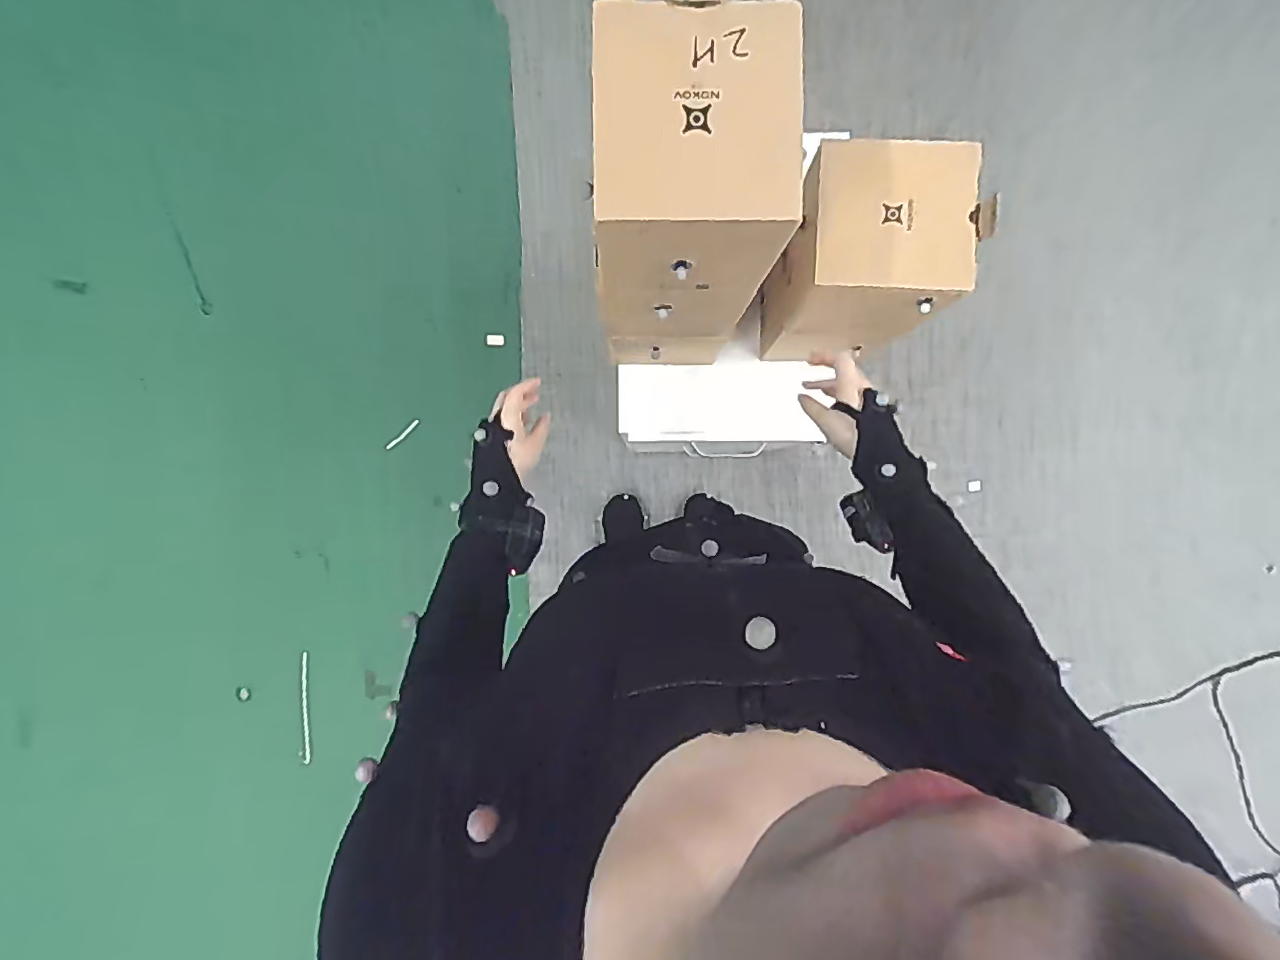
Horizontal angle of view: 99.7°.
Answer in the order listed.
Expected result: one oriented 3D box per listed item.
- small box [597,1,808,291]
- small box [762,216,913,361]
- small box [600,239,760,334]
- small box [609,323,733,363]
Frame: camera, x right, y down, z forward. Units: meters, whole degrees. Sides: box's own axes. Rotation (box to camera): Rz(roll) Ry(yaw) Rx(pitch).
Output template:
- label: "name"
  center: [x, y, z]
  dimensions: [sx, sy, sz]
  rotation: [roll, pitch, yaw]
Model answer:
- label: "small box"
  center: [0.049, -0.286, 0.502]
  dimensions: [0.168, 0.176, 0.179]
  rotation: [0, 90, -1]
- label: "small box"
  center: [0.292, -0.284, 0.829]
  dimensions: [0.179, 0.176, 0.168]
  rotation: [0, 89, 3]
- label: "small box"
  center: [0.044, -0.282, 0.667]
  dimensions: [0.179, 0.176, 0.168]
  rotation: [0, 90, -1]
- label: "small box"
  center: [0.046, -0.277, 0.831]
  dimensions: [0.179, 0.176, 0.168]
  rotation: [0, 91, 0]
